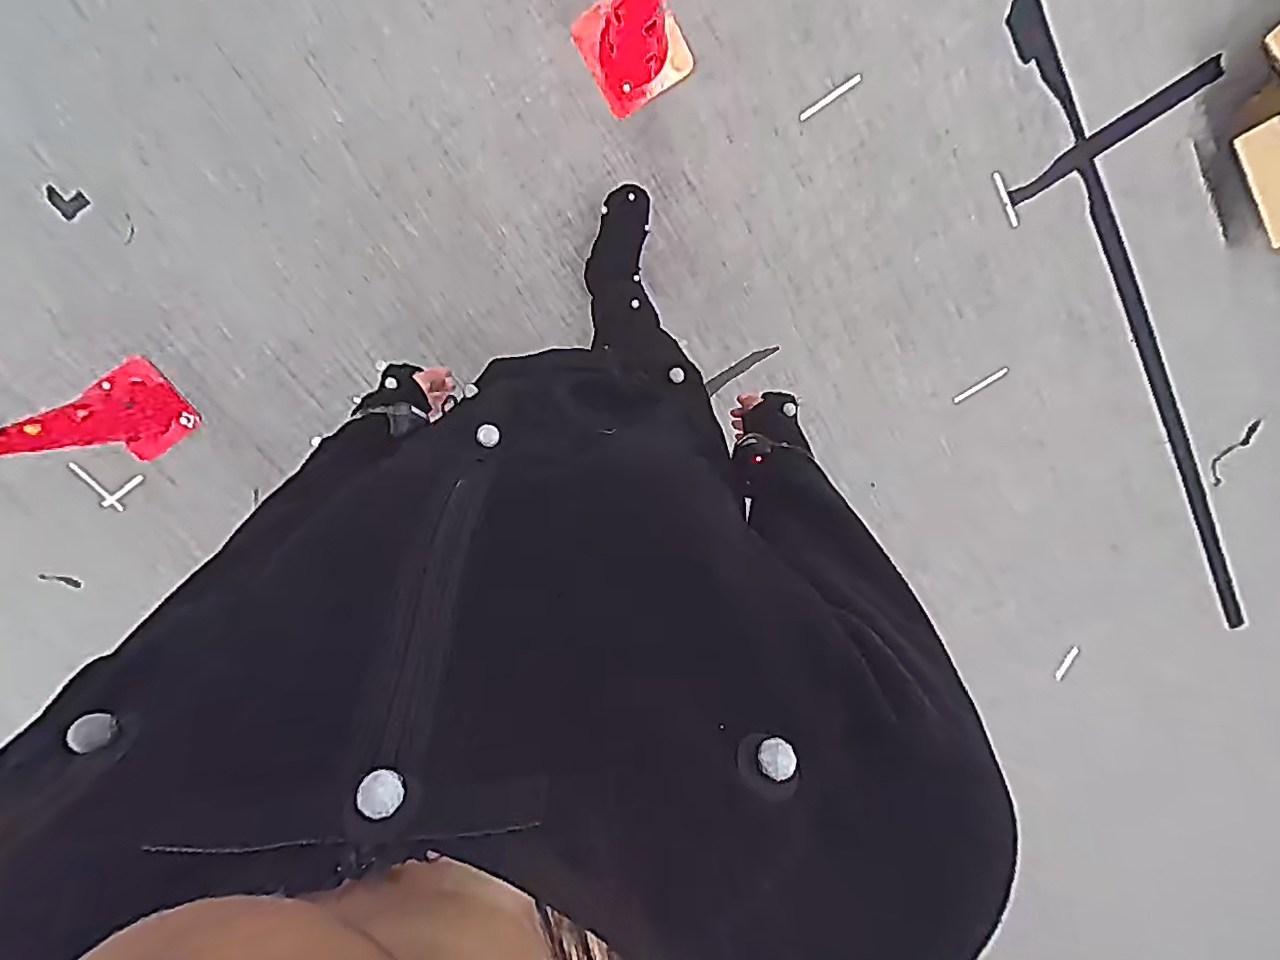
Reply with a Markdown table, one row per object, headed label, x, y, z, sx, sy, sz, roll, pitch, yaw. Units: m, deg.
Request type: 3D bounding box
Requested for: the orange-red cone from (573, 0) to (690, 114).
| label | x | y | z | sx | sy | sz | roll | pitch | yaw |
| --- | --- | --- | --- | --- | --- | --- | --- | --- | --- |
| orange-red cone | -0.004 | -0.853 | 0.967 | 0.199 | 0.360 | 0.198 | -30 | 108 | 5 |
